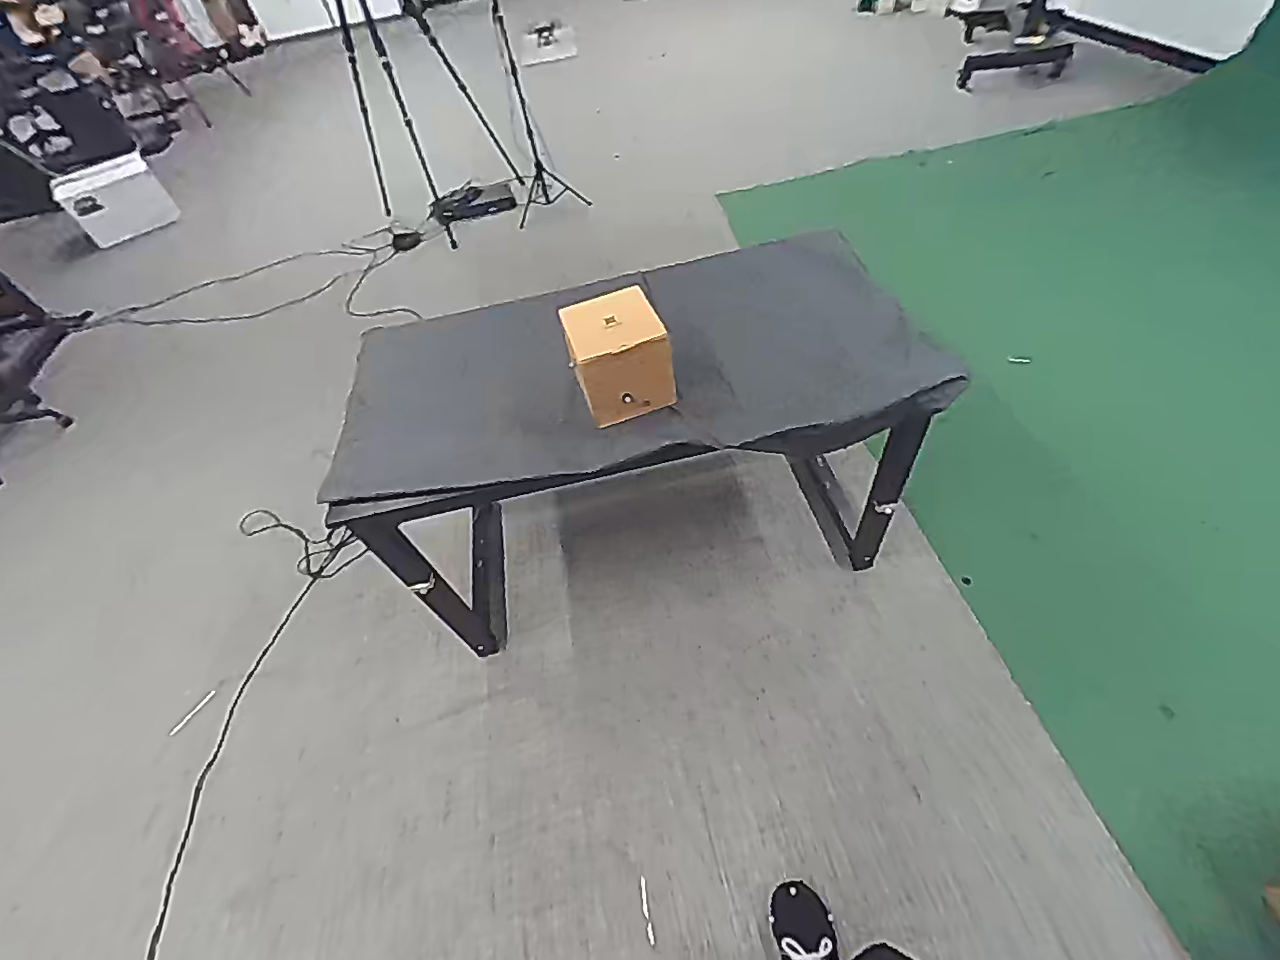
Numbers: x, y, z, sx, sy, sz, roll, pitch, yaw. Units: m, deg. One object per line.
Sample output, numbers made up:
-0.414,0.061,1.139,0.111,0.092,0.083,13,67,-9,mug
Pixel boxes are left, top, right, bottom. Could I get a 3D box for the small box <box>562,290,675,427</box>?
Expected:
-0.039,-0.233,1.048,0.168,0.176,0.179,-19,52,-6,small box
